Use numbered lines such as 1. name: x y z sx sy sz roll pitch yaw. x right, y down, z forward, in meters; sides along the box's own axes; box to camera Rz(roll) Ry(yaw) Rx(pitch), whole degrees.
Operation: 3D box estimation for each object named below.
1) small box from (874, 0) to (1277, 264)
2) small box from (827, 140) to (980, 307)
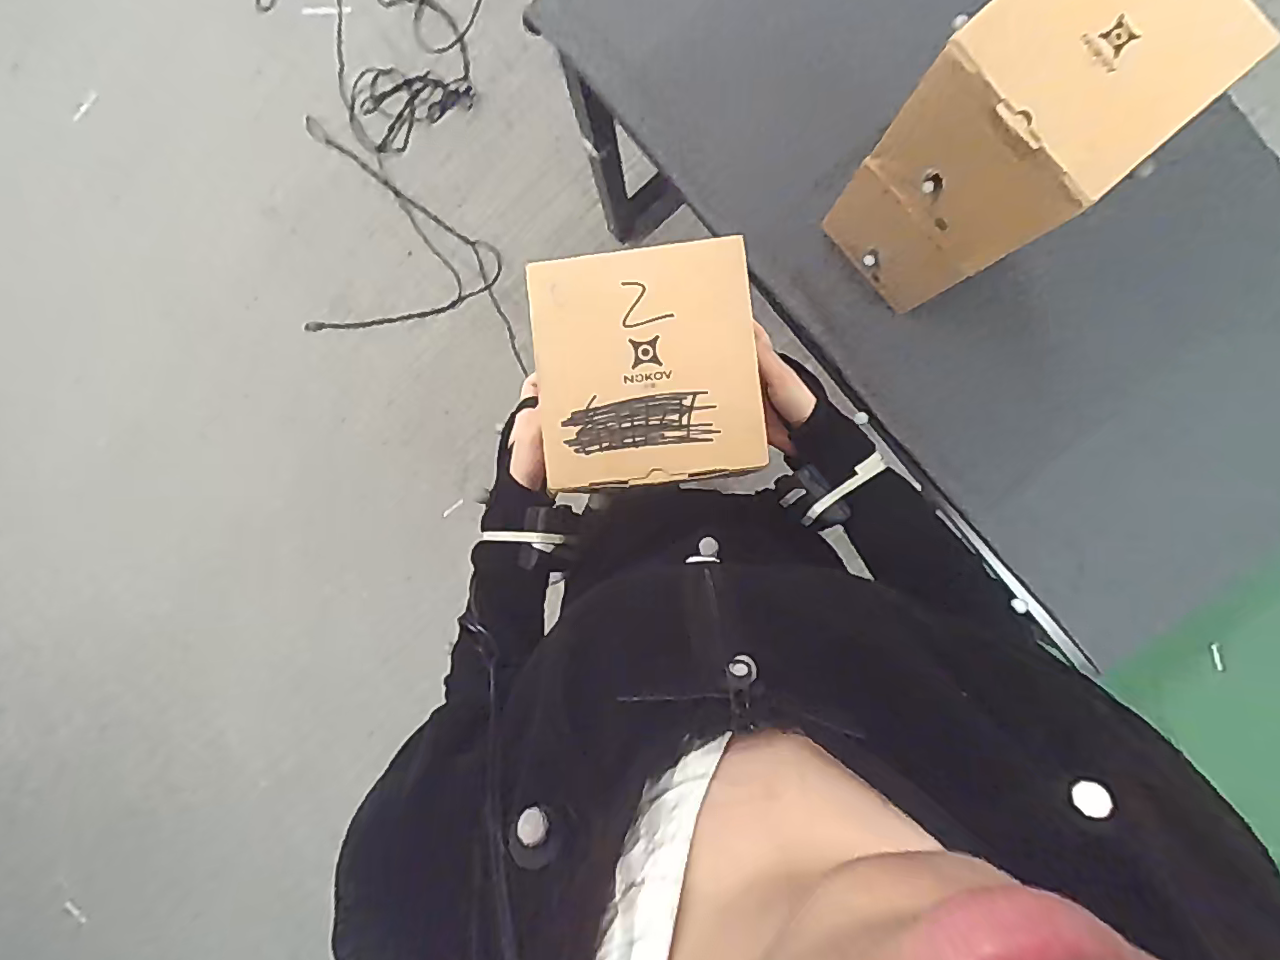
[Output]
1. small box: 0.345 -0.328 0.472 0.179 0.176 0.168 -42 91 4
2. small box: 0.353 -0.337 0.634 0.179 0.176 0.168 -42 90 4
